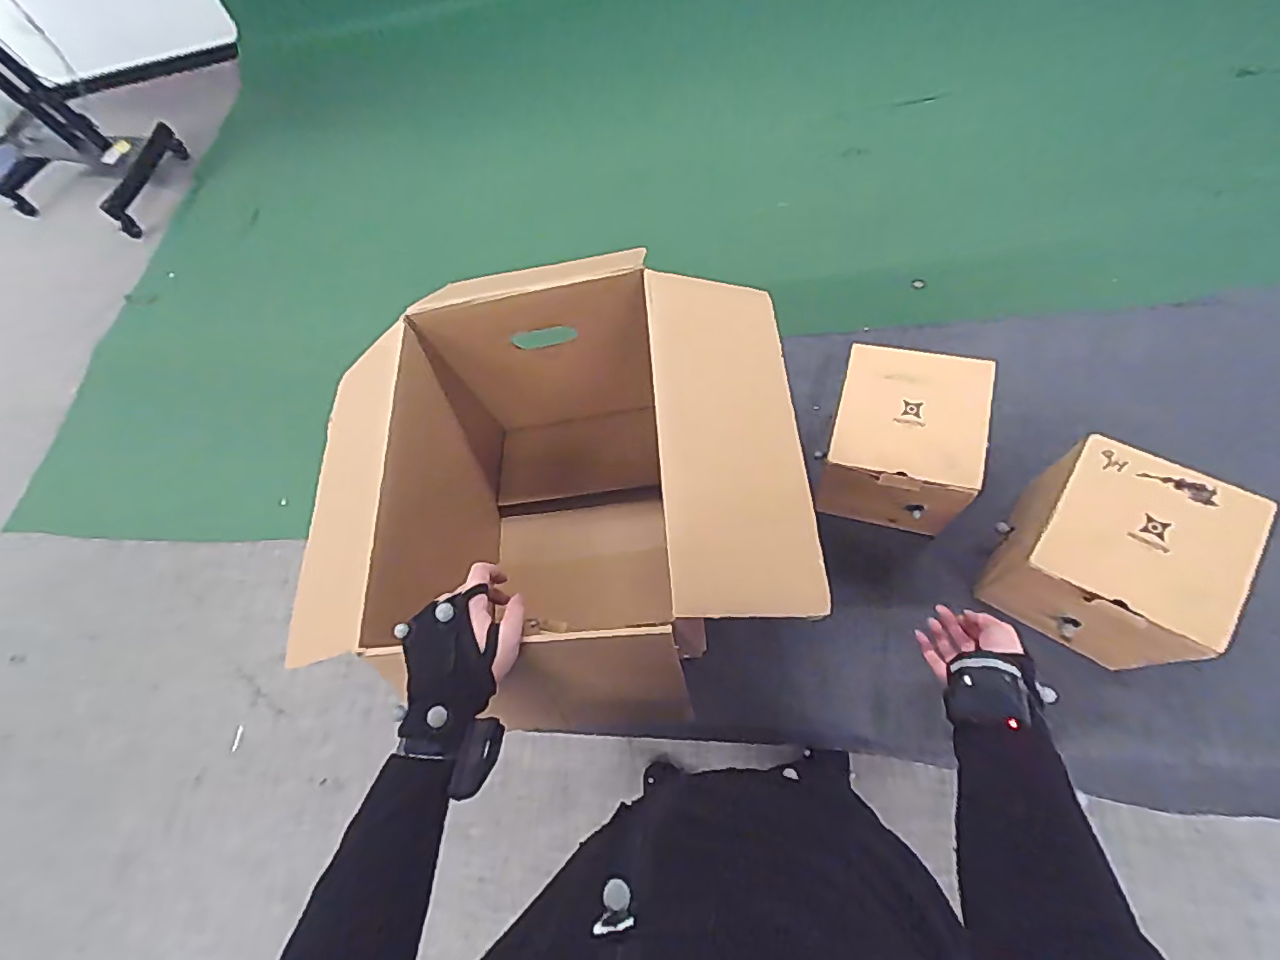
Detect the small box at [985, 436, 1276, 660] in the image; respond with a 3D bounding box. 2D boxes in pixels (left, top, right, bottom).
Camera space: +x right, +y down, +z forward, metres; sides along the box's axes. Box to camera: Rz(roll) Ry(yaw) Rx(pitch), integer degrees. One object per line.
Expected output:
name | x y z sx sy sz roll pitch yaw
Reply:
small box | 0.532 0.087 0.619 0.168 0.176 0.179 31 78 22
